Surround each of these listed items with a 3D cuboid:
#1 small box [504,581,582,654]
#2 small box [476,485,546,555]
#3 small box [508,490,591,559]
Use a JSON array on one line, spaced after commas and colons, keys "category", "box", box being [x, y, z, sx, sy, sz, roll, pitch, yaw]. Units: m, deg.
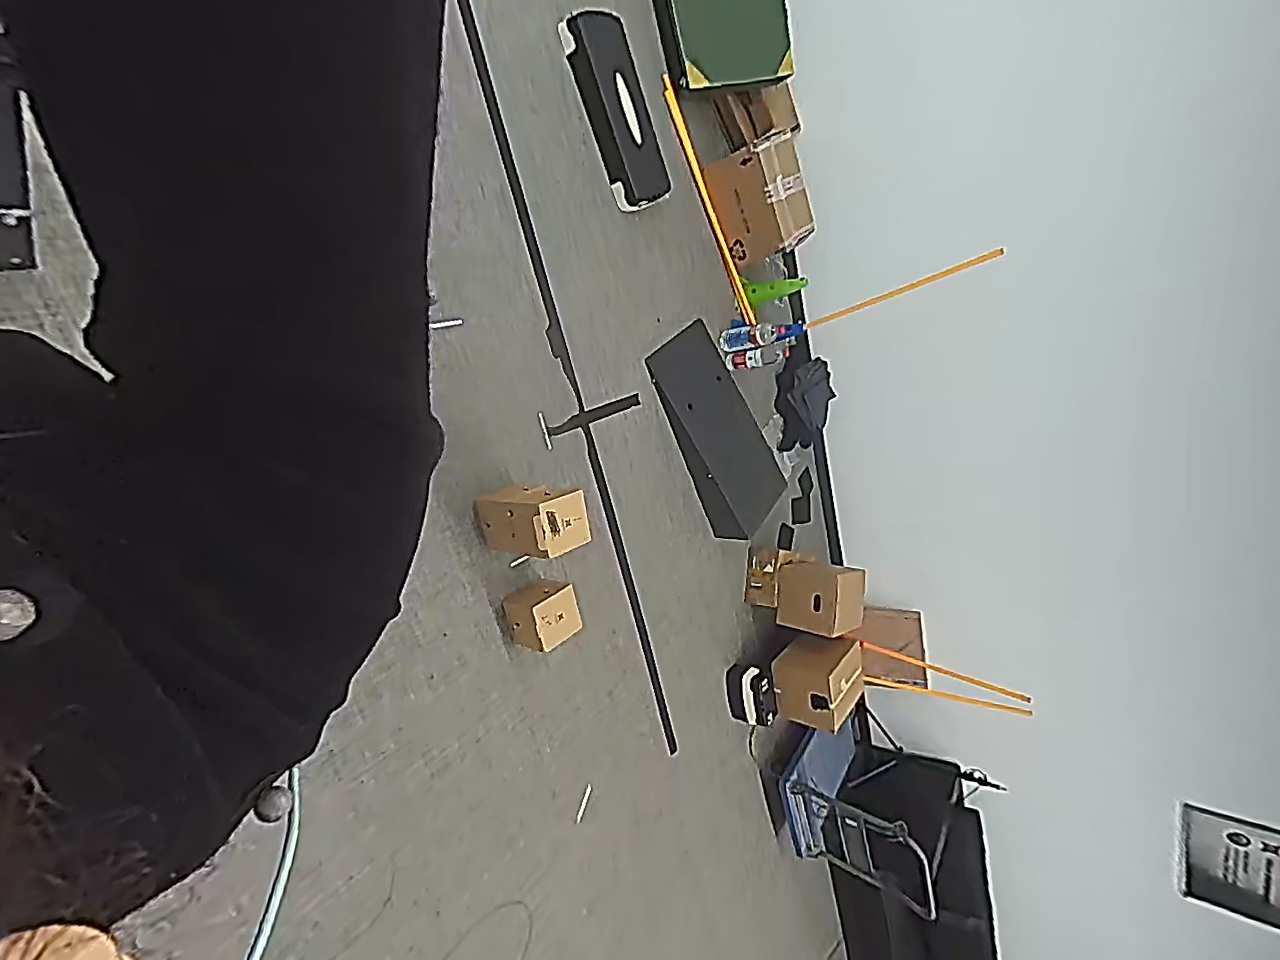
[{"category": "small box", "box": [-0.326, 0.453, 1.817, 0.179, 0.176, 0.168, -26, 109, -45]}, {"category": "small box", "box": [-0.399, 0.122, 1.735, 0.168, 0.176, 0.179, -27, 111, -45]}, {"category": "small box", "box": [-0.278, 0.129, 1.623, 0.179, 0.176, 0.168, -20, 105, -47]}]
